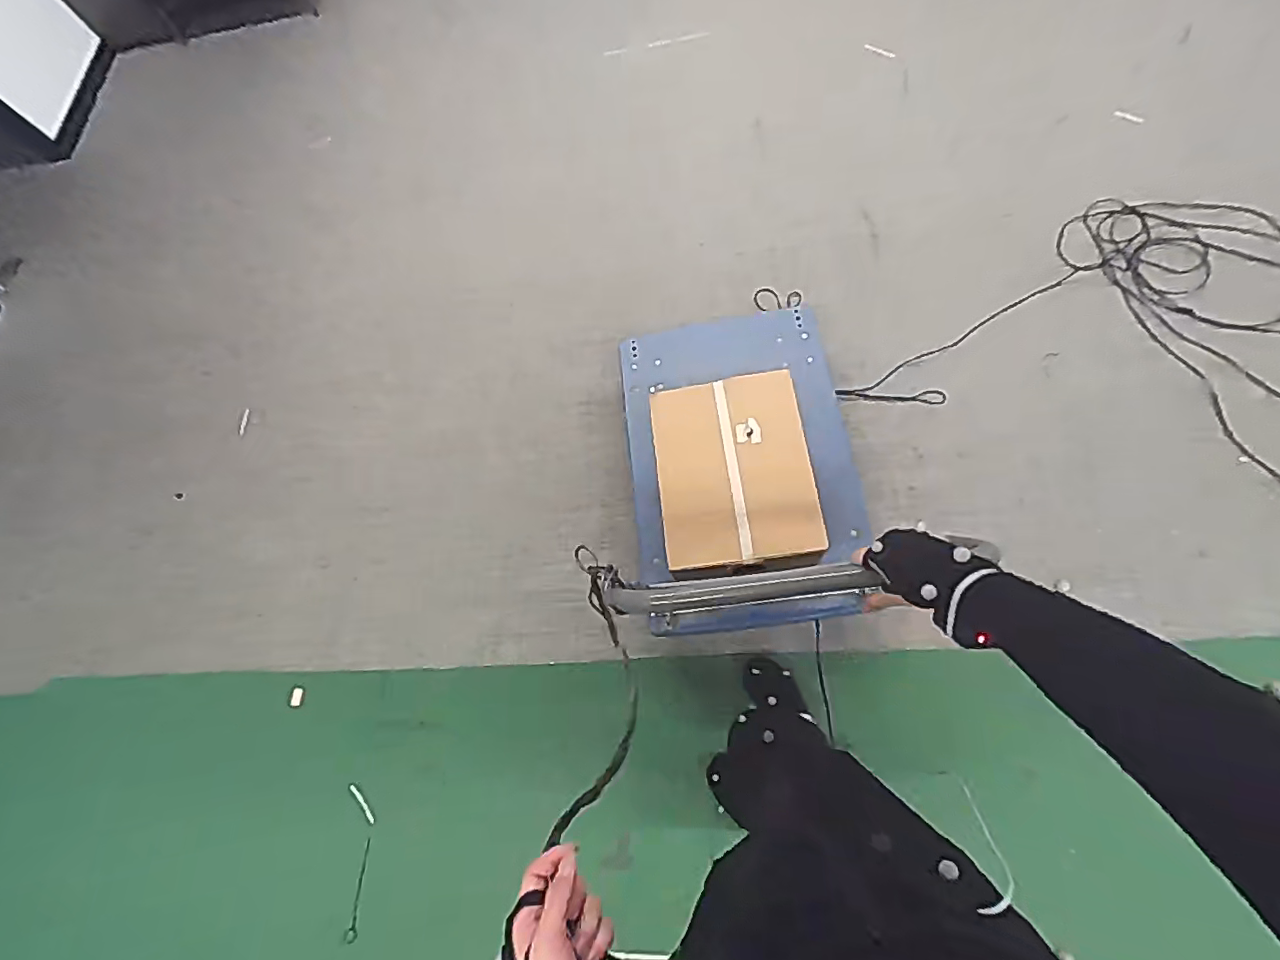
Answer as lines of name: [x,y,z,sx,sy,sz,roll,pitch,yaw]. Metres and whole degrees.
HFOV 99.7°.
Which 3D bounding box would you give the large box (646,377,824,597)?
large box: [0.210,0.033,1.260,0.320,0.320,0.408,-8,68,7]
